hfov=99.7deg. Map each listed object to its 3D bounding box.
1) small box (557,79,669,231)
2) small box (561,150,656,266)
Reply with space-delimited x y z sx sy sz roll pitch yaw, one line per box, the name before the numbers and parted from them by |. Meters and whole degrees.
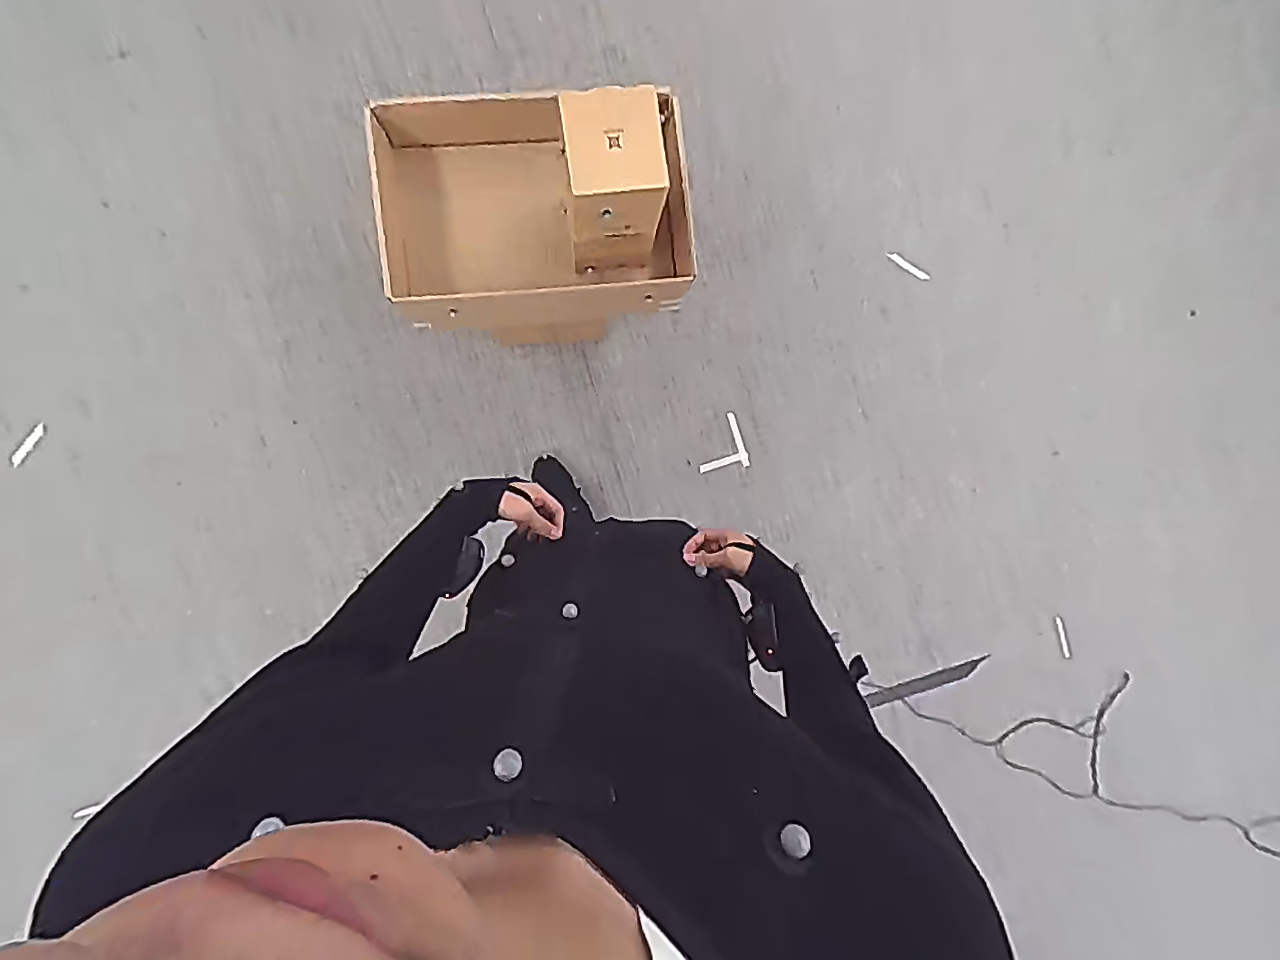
small box | -0.049 -0.561 0.959 0.168 0.176 0.179 -9 90 -6
small box | -0.067 -0.559 1.121 0.168 0.176 0.179 -9 90 -6
